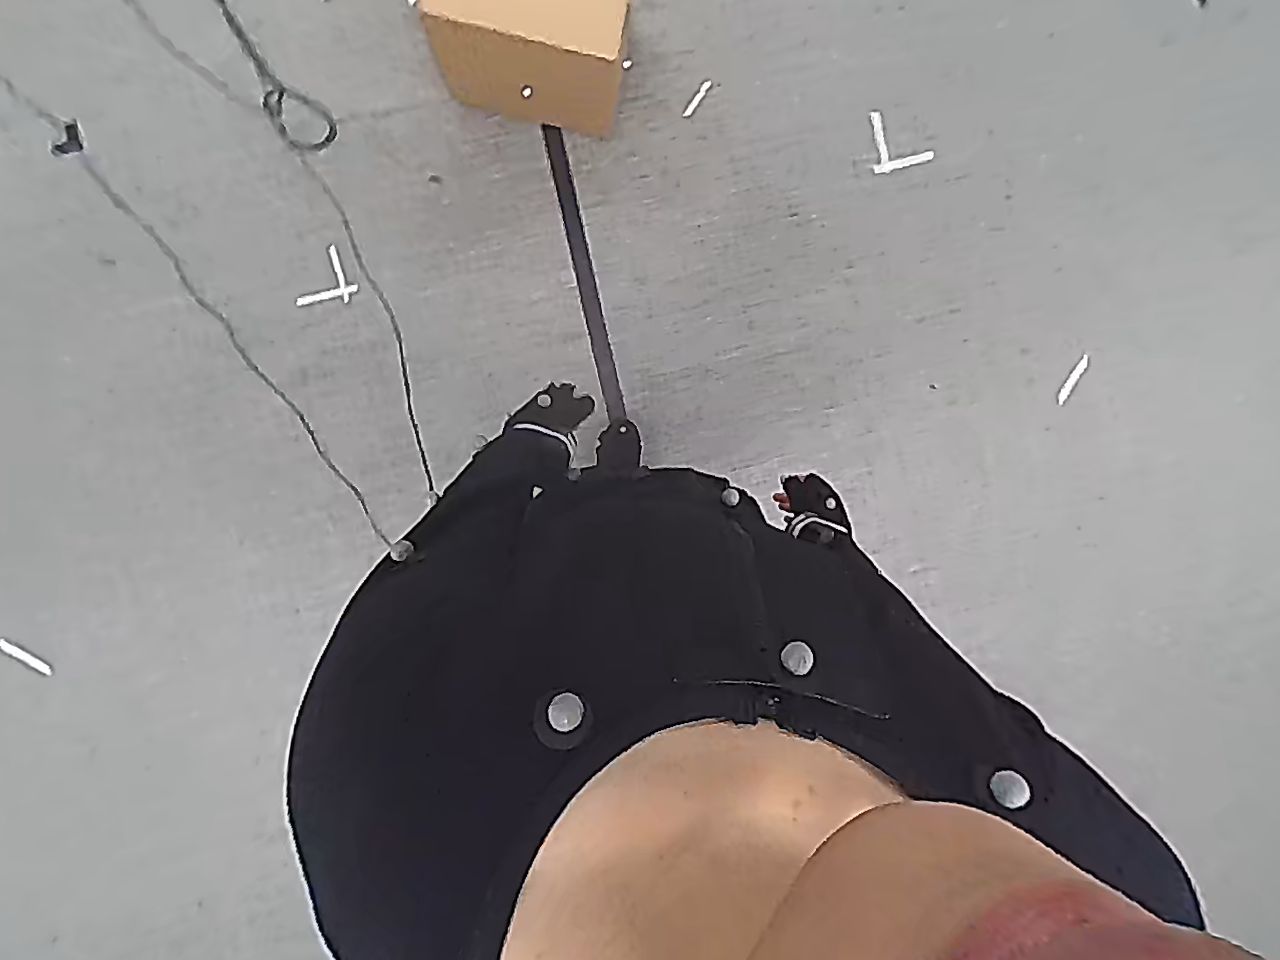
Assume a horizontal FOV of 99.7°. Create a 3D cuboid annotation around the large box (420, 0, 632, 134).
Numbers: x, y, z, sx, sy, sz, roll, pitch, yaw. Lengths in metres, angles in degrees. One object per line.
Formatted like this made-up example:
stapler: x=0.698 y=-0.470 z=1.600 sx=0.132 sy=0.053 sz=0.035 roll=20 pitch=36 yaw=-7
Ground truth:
large box: x=-0.228 y=-1.051 z=1.220 sx=0.408 sy=0.320 sz=0.320 roll=10 pitch=94 yaw=-6
